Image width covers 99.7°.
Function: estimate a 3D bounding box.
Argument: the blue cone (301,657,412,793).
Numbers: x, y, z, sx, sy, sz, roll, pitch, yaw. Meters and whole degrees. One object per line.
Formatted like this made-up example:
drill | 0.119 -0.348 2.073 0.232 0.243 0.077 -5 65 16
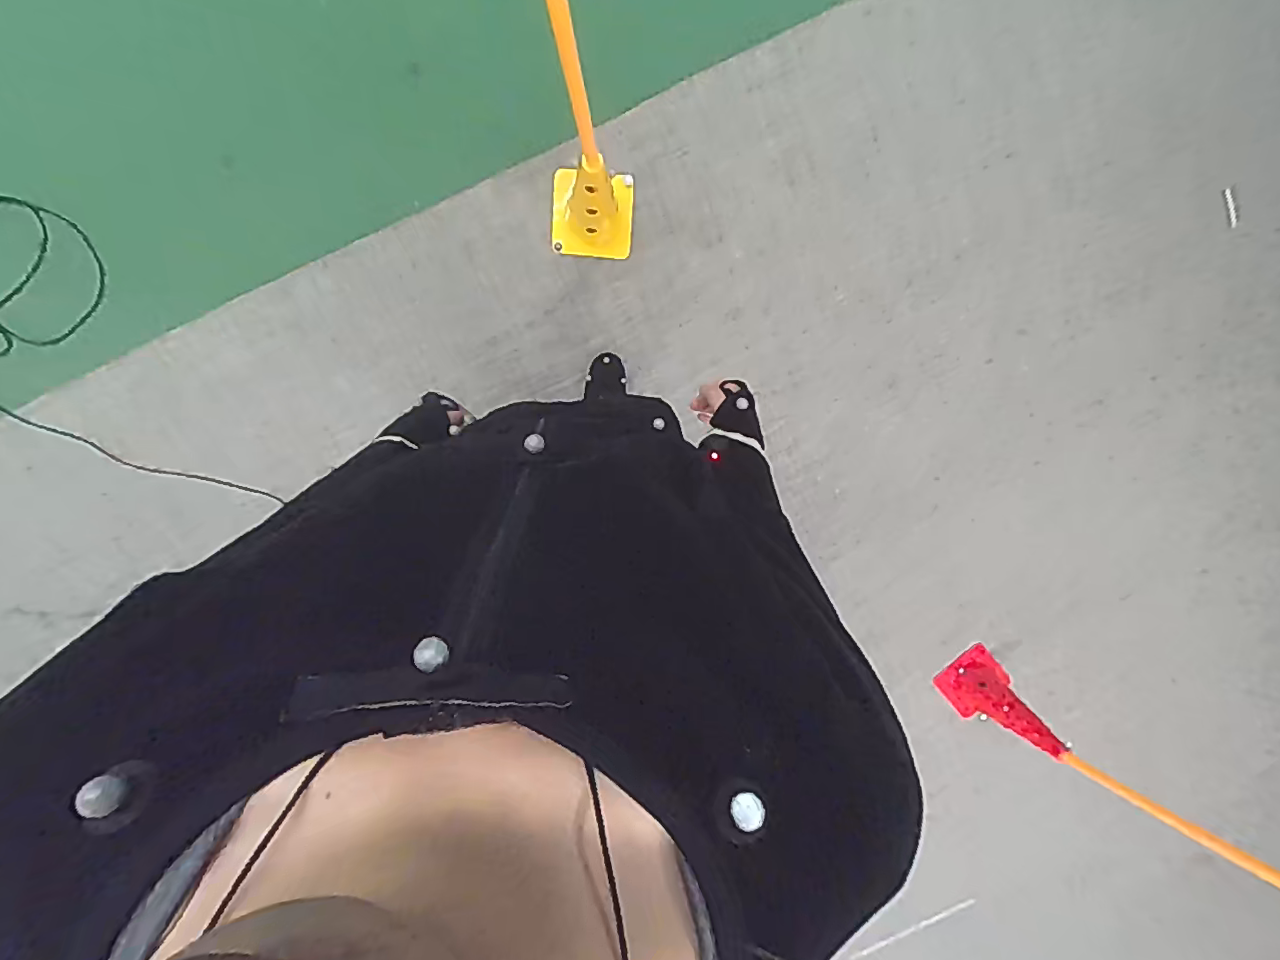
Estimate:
blue cone | -0.744 0.641 1.385 0.192 0.380 0.193 18 101 -9
